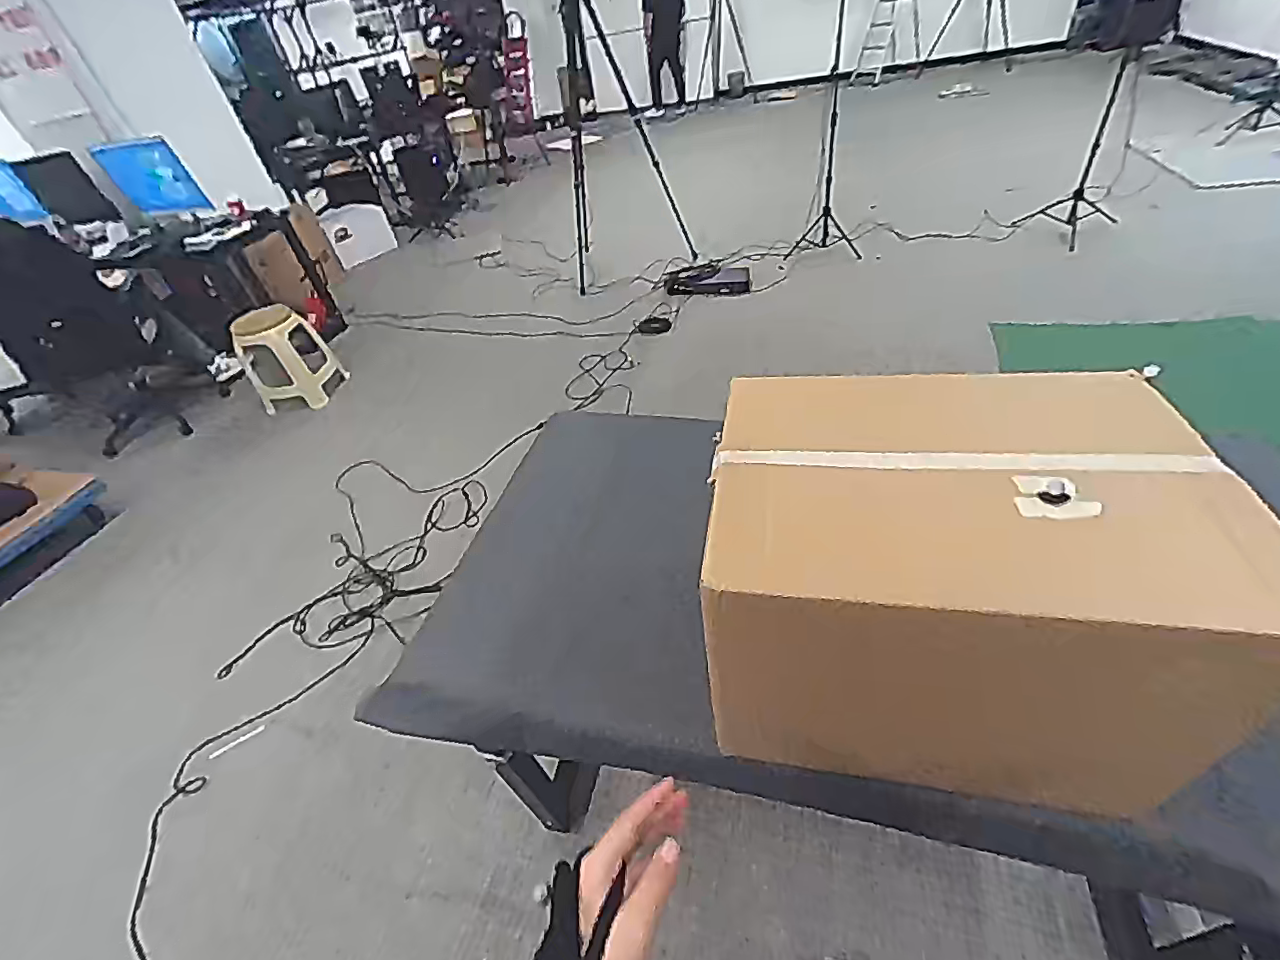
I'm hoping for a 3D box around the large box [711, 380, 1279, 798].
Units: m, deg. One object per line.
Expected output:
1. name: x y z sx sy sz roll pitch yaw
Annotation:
1. large box: 0.292 0.101 0.591 0.408 0.320 0.320 2 43 13
